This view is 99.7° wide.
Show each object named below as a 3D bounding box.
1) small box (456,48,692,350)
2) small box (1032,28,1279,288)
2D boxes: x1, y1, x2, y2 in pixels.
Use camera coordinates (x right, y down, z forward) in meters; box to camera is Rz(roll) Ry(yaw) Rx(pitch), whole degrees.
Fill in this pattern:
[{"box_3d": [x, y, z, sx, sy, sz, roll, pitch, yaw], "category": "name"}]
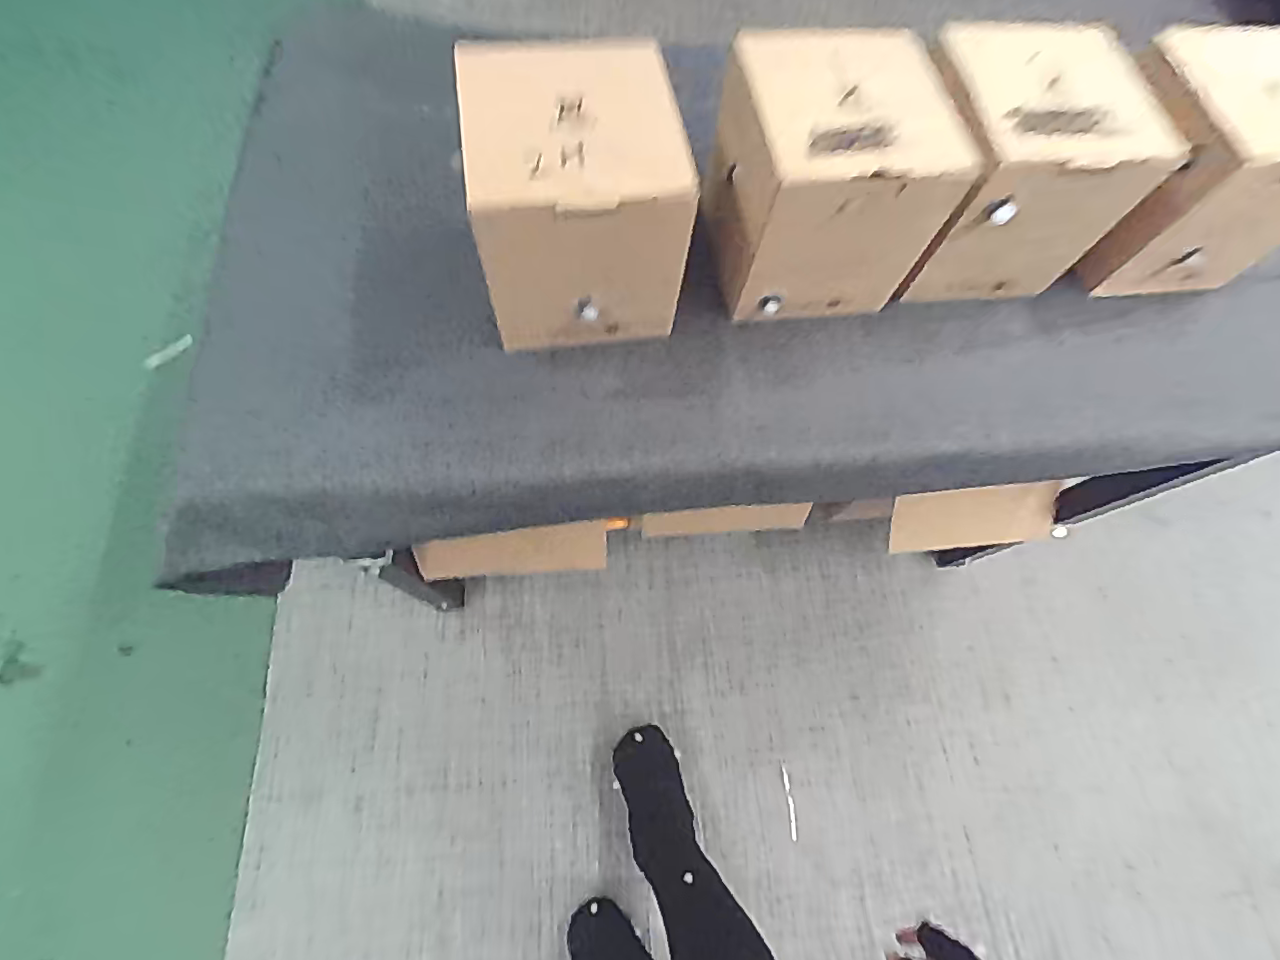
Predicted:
[{"box_3d": [-0.061, -0.244, 0.490, 0.168, 0.176, 0.179, -9, 70, -7], "category": "small box"}, {"box_3d": [0.570, -0.330, 0.572, 0.168, 0.176, 0.179, -6, 69, -6], "category": "small box"}]
